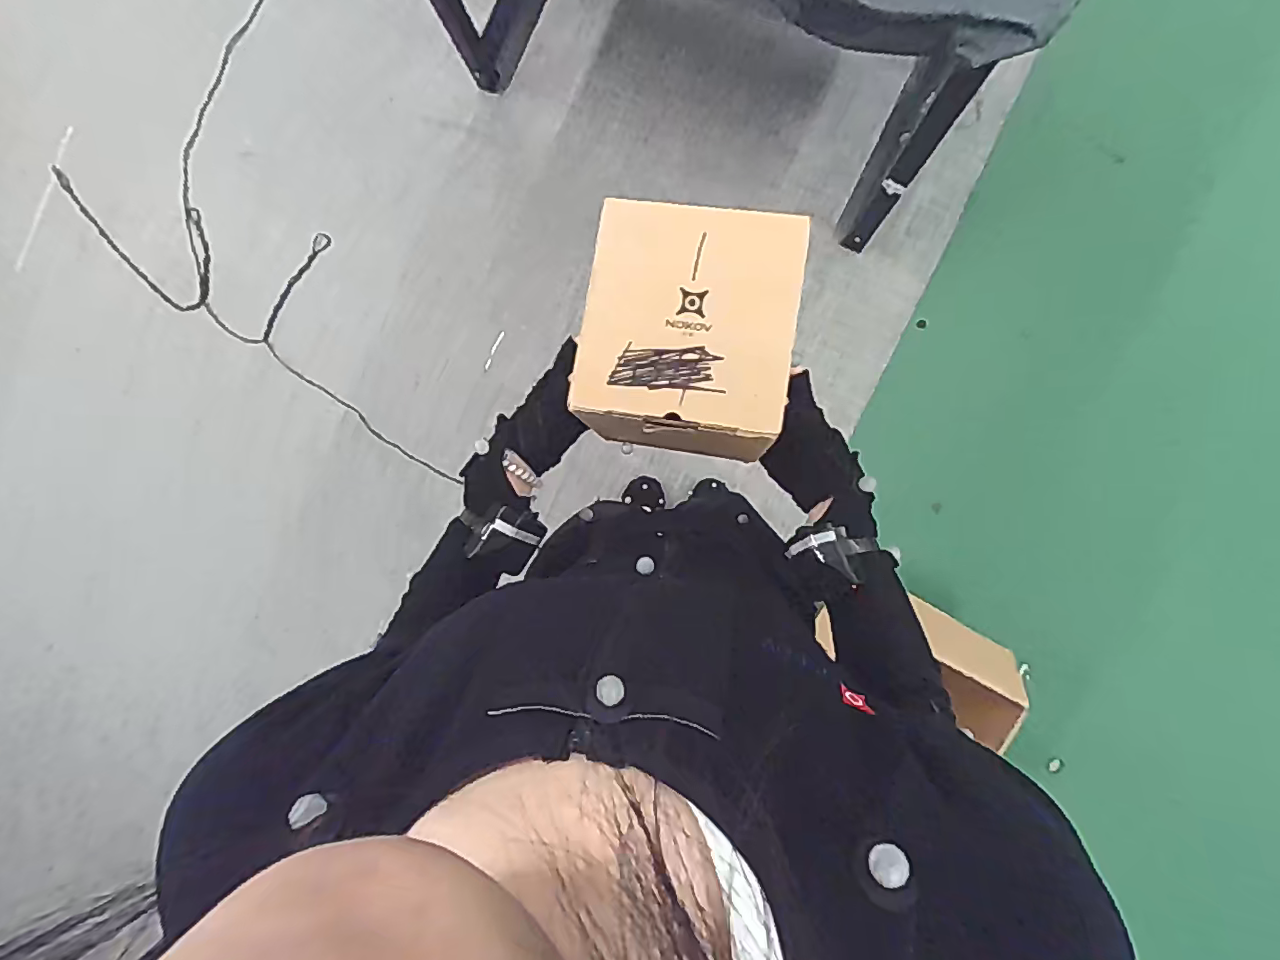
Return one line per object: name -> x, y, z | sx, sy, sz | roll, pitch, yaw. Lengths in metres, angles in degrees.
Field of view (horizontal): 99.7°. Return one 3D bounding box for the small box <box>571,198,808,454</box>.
small box -> 0.046, -0.125, 0.500 | 0.168, 0.176, 0.179 | 8, 86, 6
